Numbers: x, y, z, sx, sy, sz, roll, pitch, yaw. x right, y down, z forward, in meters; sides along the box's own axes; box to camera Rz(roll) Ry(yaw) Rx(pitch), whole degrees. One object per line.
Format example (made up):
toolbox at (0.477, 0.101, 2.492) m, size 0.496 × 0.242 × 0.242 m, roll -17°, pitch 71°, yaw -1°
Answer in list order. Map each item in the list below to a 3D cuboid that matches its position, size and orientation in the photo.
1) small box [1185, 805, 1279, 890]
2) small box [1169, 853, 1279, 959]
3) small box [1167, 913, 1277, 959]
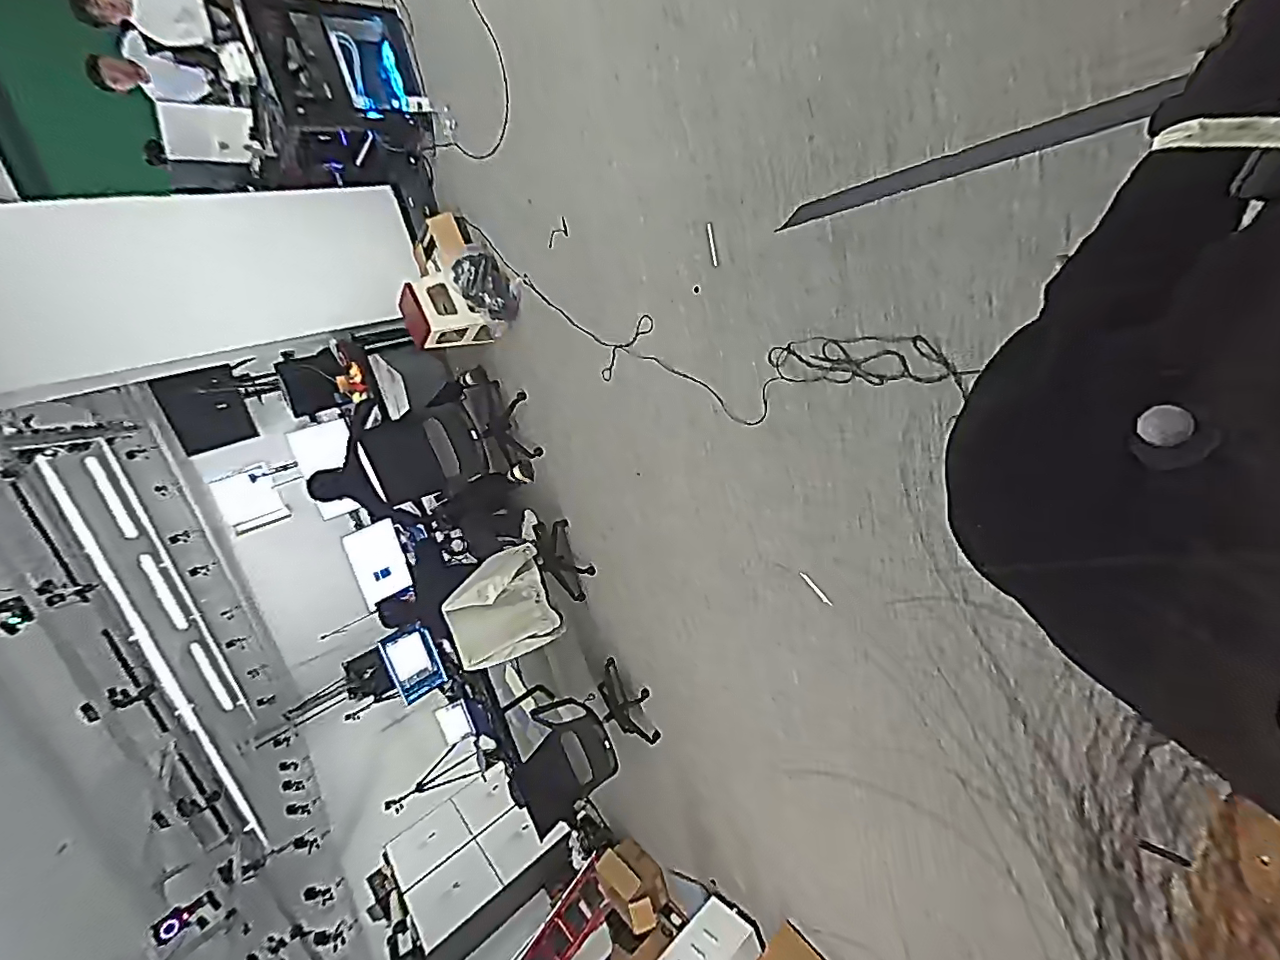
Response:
small box at (1.417, 0.899, 1.255) m, size 0.179 × 0.176 × 0.168 m, roll 17°, pitch 124°, yaw 47°
small box at (1.297, 0.966, 1.165) m, size 0.179 × 0.176 × 0.168 m, roll 21°, pitch 126°, yaw 45°
small box at (1.178, 1.032, 1.076) m, size 0.179 × 0.176 × 0.168 m, roll 18°, pitch 124°, yaw 47°
